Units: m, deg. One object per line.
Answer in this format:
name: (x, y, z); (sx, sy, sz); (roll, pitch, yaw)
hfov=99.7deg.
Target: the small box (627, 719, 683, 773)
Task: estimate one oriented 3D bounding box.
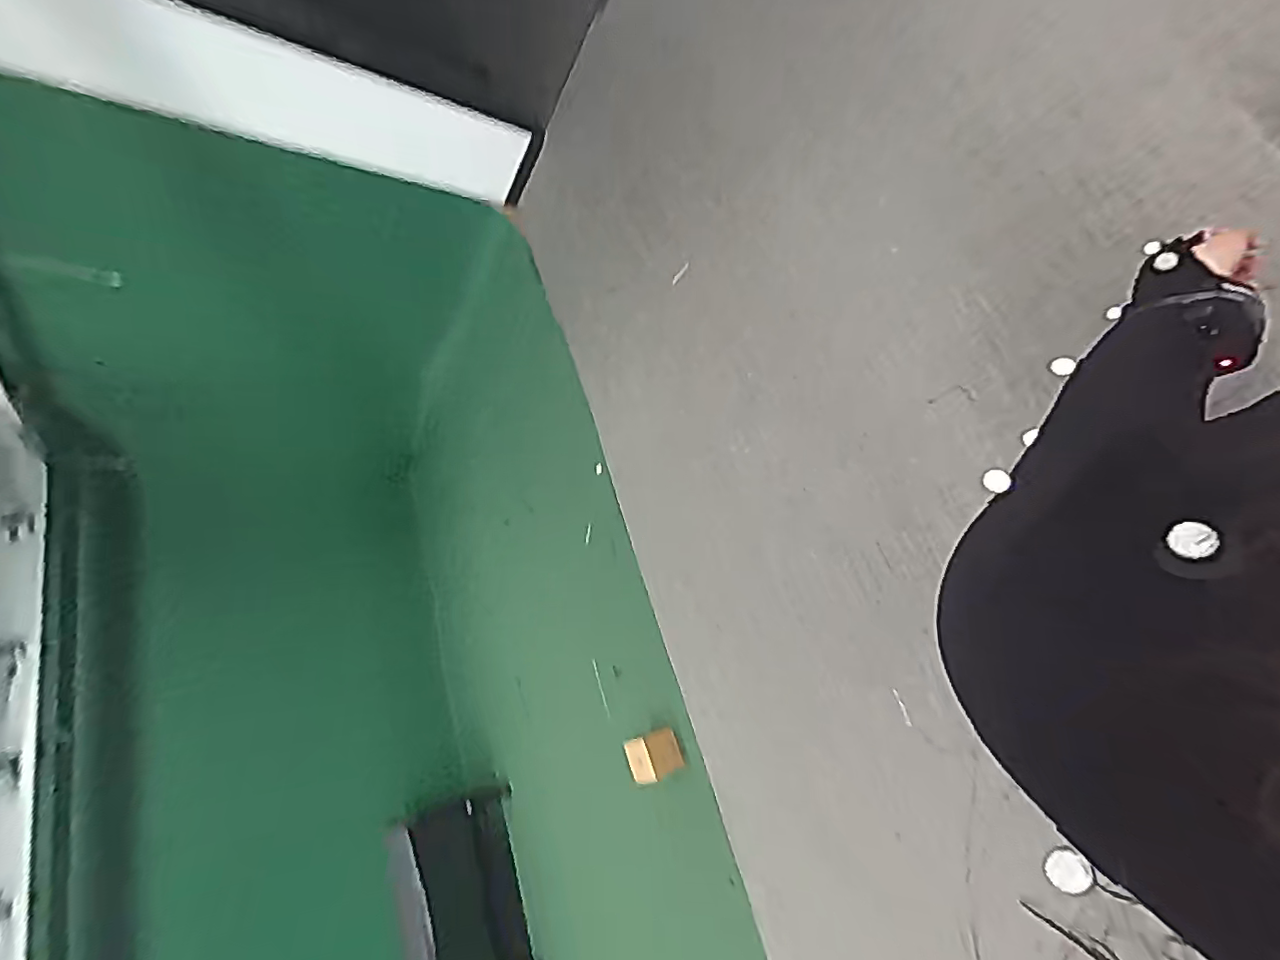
small box: (0.076, 1.196, 2.439); (0.179, 0.176, 0.168); (-43, 62, 46)
